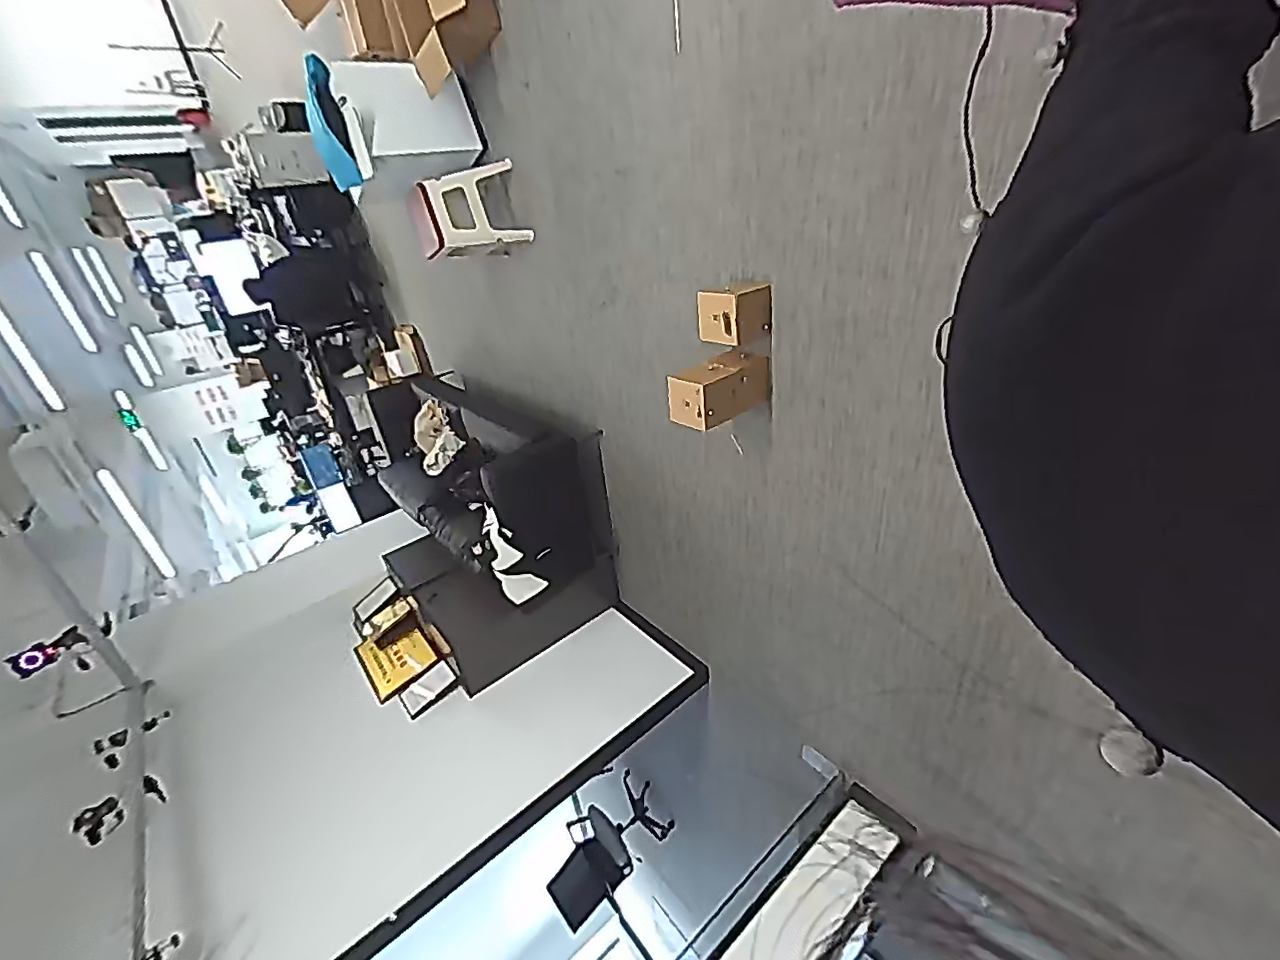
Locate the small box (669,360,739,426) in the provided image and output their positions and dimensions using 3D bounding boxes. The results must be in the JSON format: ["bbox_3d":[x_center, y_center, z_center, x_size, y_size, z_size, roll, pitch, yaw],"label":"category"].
[{"bbox_3d":[0.221,-0.306,1.863,0.179,0.176,0.168,28,134,45],"label":"small box"}]

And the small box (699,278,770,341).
[{"bbox_3d":[0.322,-0.580,1.827,0.179,0.176,0.168,27,133,46],"label":"small box"}]
